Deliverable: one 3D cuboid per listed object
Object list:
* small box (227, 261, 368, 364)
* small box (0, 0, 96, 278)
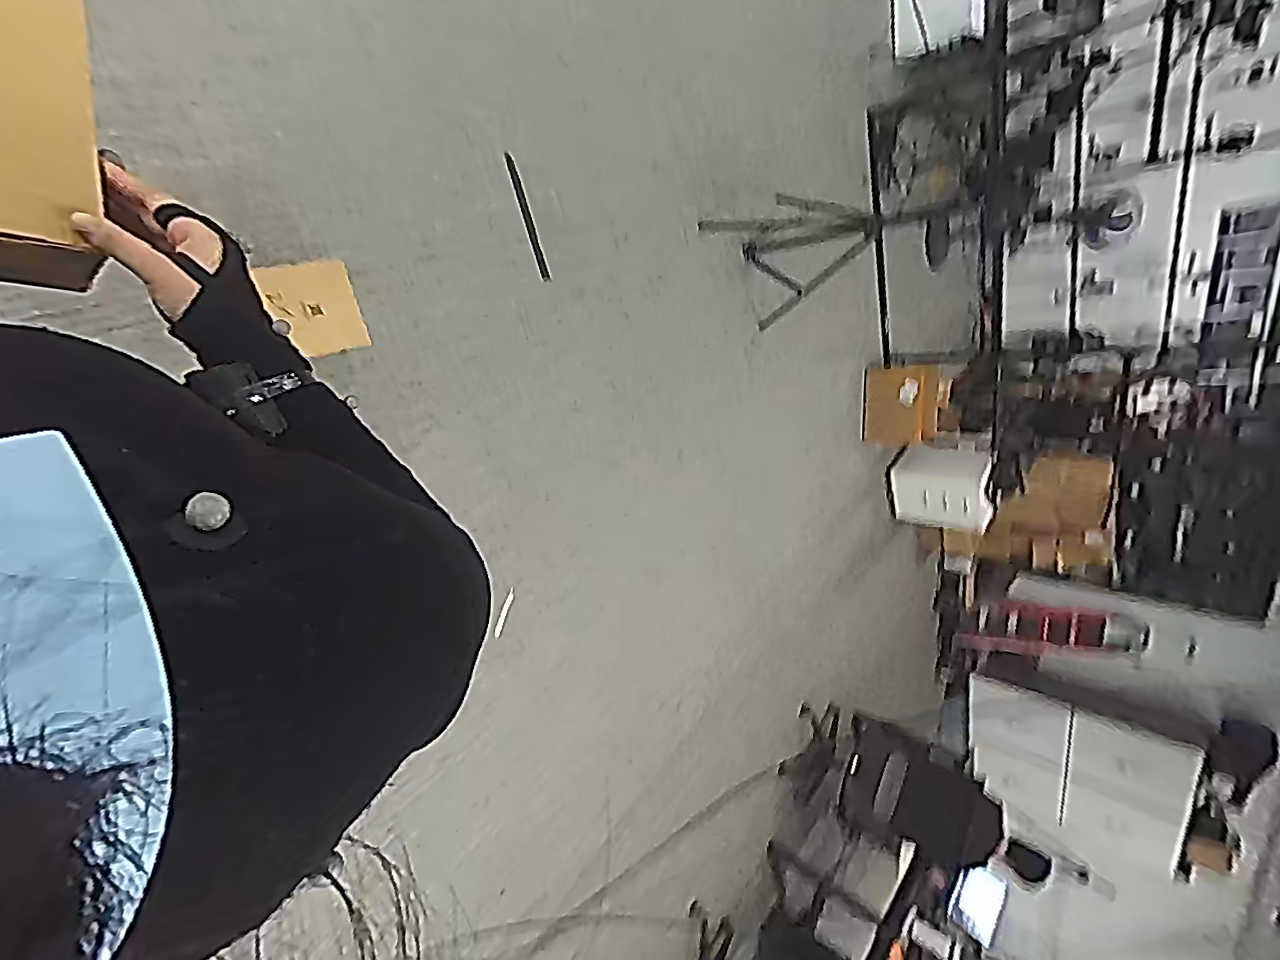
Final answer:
[{"bbox_3d":[-0.681,-0.331,1.076,0.179,0.176,0.168,-27,114,-38],"label":"small box"},{"bbox_3d":[-0.498,-0.250,0.361,0.168,0.176,0.179,-9,103,-49],"label":"small box"}]
